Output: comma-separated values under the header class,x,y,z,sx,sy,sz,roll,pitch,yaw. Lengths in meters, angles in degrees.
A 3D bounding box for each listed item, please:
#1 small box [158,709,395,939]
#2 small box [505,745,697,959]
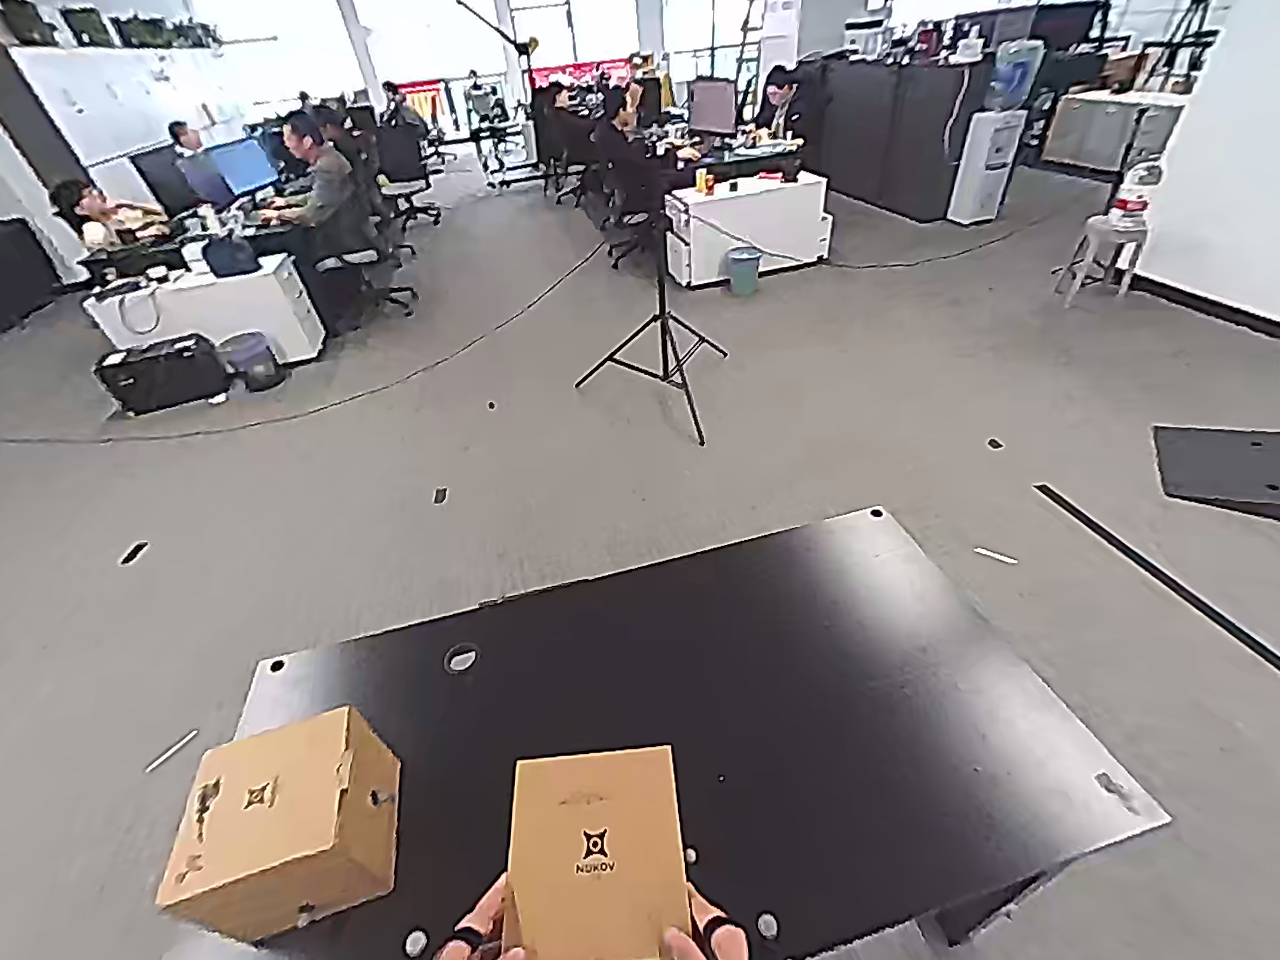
class,x,y,z,sx,sy,sz,roll,pitch,yaw
small box,-0.418,0.420,0.665,0.179,0.176,0.168,-14,40,-11
small box,-0.034,0.404,0.564,0.168,0.176,0.179,-4,42,-3
